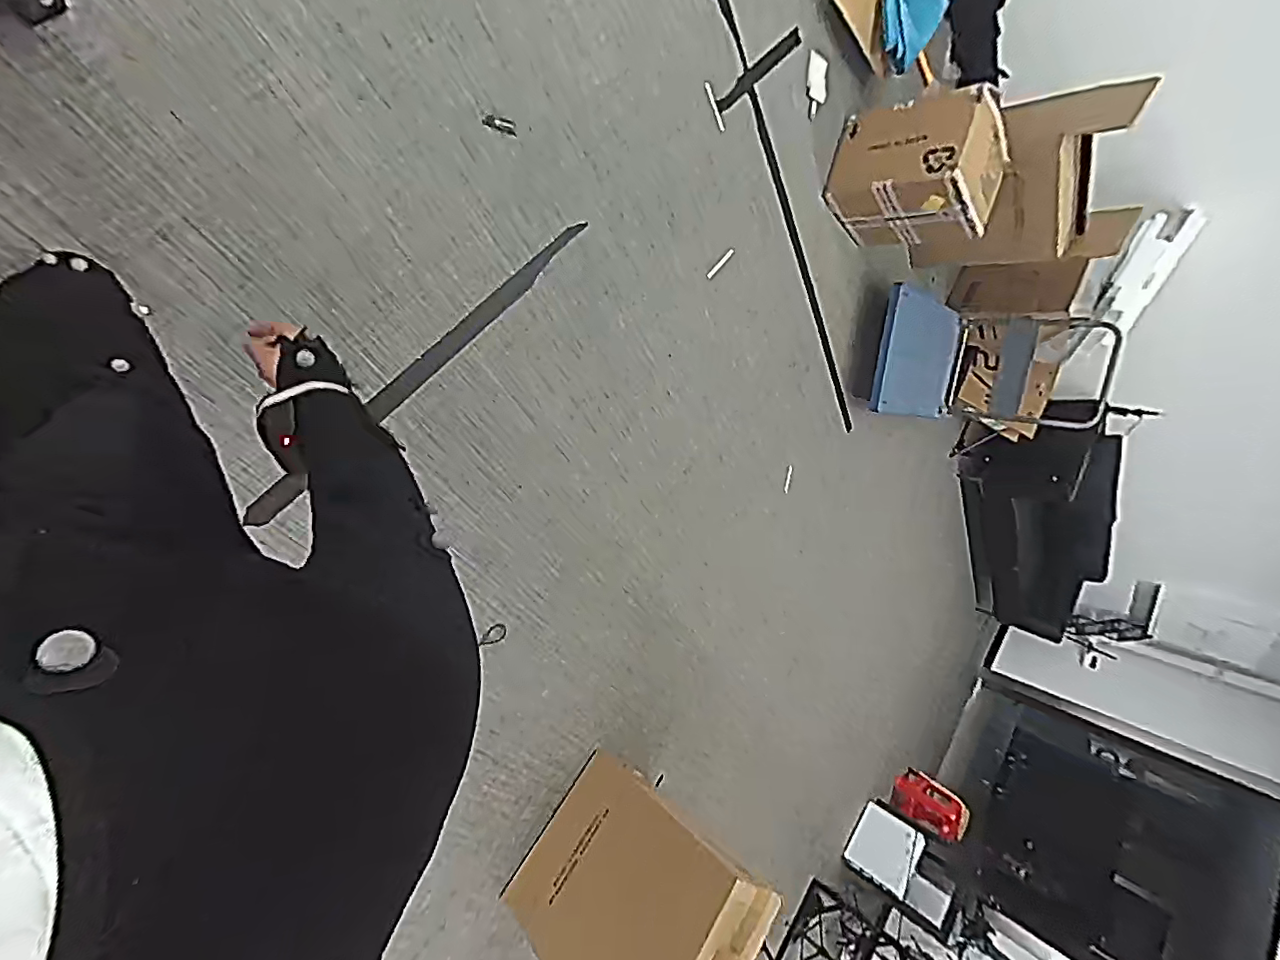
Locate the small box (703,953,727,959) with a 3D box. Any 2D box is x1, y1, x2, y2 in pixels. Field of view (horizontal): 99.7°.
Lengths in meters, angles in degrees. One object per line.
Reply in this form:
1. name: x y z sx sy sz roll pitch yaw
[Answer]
1. small box: 0.220 1.399 1.411 0.179 0.176 0.168 -53 132 -20
